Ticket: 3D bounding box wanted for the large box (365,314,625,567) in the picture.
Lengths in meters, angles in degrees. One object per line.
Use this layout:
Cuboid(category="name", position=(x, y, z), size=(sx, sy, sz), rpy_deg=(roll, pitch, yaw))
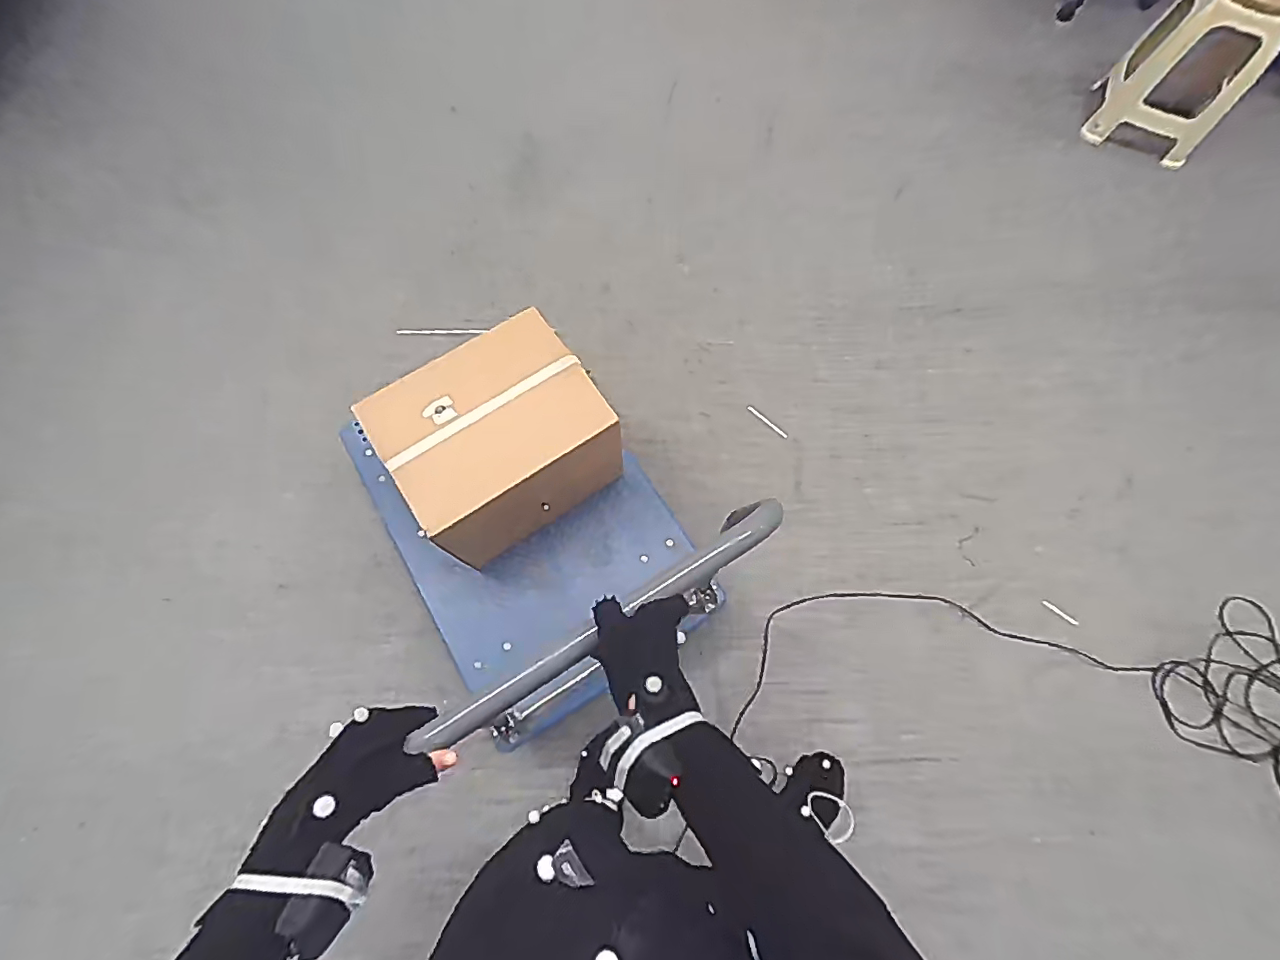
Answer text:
Cuboid(category="large box", position=(-0.278, -0.068, 1.165), size=(0.408, 0.320, 0.320), rpy_deg=(-33, 74, -11))
